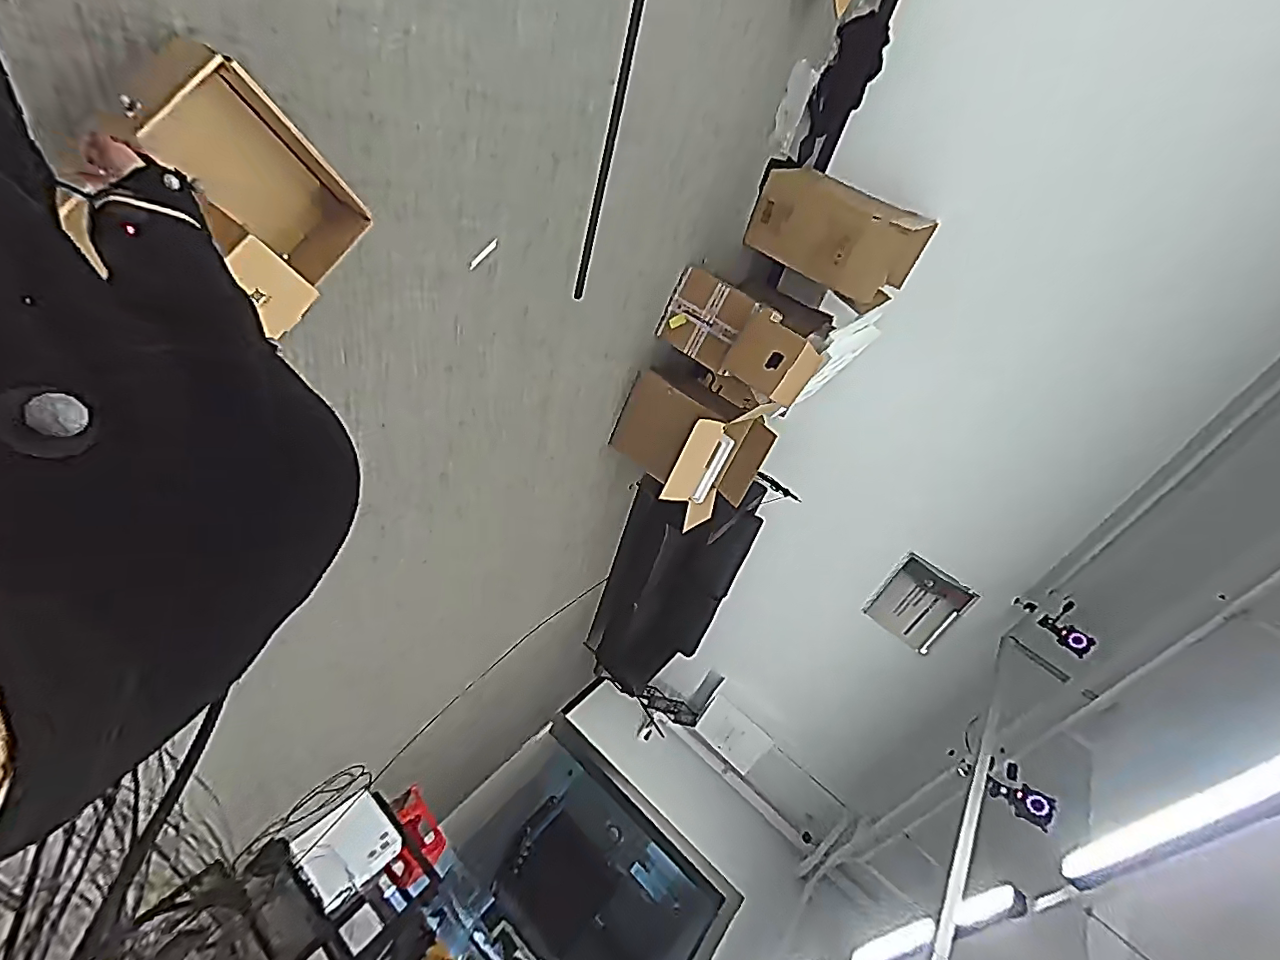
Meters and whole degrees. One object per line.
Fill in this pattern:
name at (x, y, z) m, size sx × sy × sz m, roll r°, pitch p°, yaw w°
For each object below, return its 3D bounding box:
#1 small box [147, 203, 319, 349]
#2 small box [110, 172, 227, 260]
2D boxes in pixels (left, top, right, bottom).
small box at (-0.788, -0.396, 1.054) m, size 0.168 × 0.176 × 0.179 m, roll -51°, pitch 158°, yaw -8°
small box at (-0.910, -0.487, 1.111) m, size 0.168 × 0.176 × 0.179 m, roll -51°, pitch 159°, yaw -9°
